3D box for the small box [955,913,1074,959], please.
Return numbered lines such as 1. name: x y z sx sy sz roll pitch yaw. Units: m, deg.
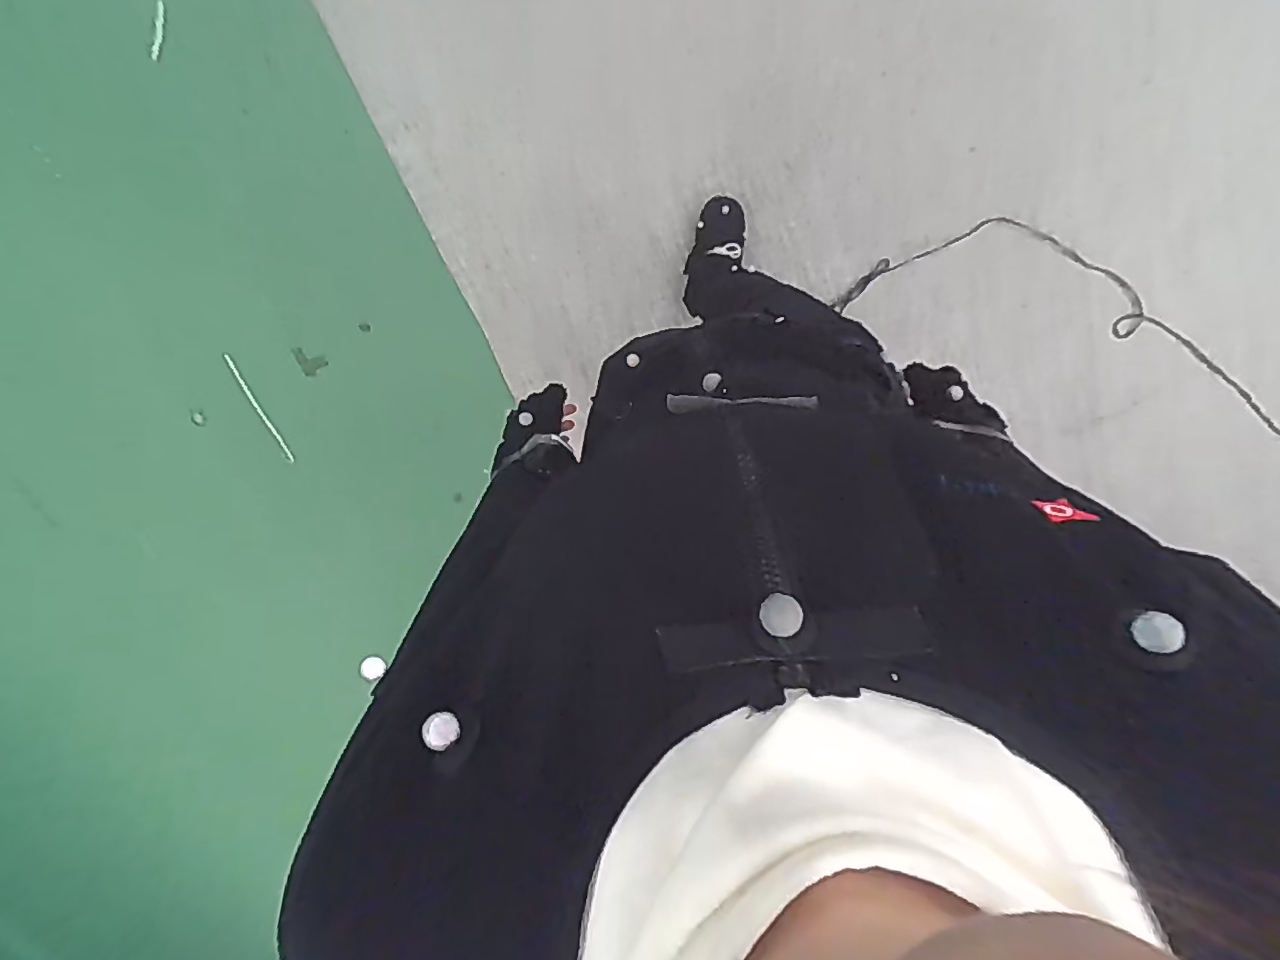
1. small box: 0.670 0.886 0.915 0.168 0.176 0.179 -23 109 11
